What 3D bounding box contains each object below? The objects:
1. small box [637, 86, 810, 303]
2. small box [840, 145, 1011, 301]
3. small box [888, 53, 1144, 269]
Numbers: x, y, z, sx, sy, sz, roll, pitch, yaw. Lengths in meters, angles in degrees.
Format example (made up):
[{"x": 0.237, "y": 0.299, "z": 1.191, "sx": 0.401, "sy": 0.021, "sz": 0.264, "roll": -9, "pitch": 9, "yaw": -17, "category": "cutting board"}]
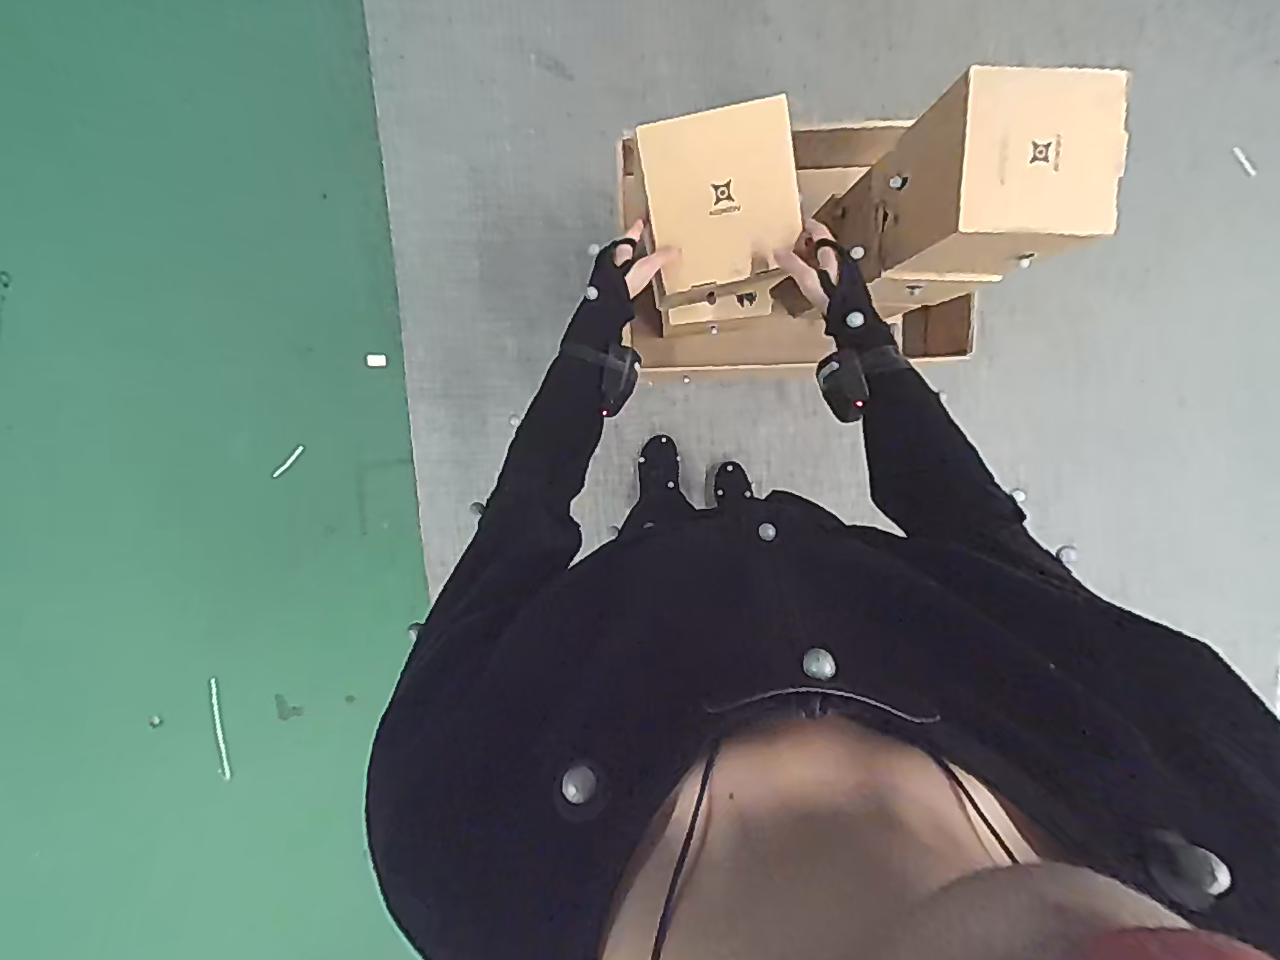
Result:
[{"x": 0.090, "y": -0.325, "z": 0.653, "sx": 0.168, "sy": 0.176, "sz": 0.179, "roll": -11, "pitch": 102, "yaw": 2, "category": "small box"}, {"x": 0.411, "y": -0.365, "z": 0.795, "sx": 0.179, "sy": 0.176, "sz": 0.168, "roll": 1, "pitch": 97, "yaw": -2, "category": "small box"}, {"x": 0.419, "y": -0.355, "z": 0.632, "sx": 0.179, "sy": 0.176, "sz": 0.168, "roll": 1, "pitch": 96, "yaw": 0, "category": "small box"}]
